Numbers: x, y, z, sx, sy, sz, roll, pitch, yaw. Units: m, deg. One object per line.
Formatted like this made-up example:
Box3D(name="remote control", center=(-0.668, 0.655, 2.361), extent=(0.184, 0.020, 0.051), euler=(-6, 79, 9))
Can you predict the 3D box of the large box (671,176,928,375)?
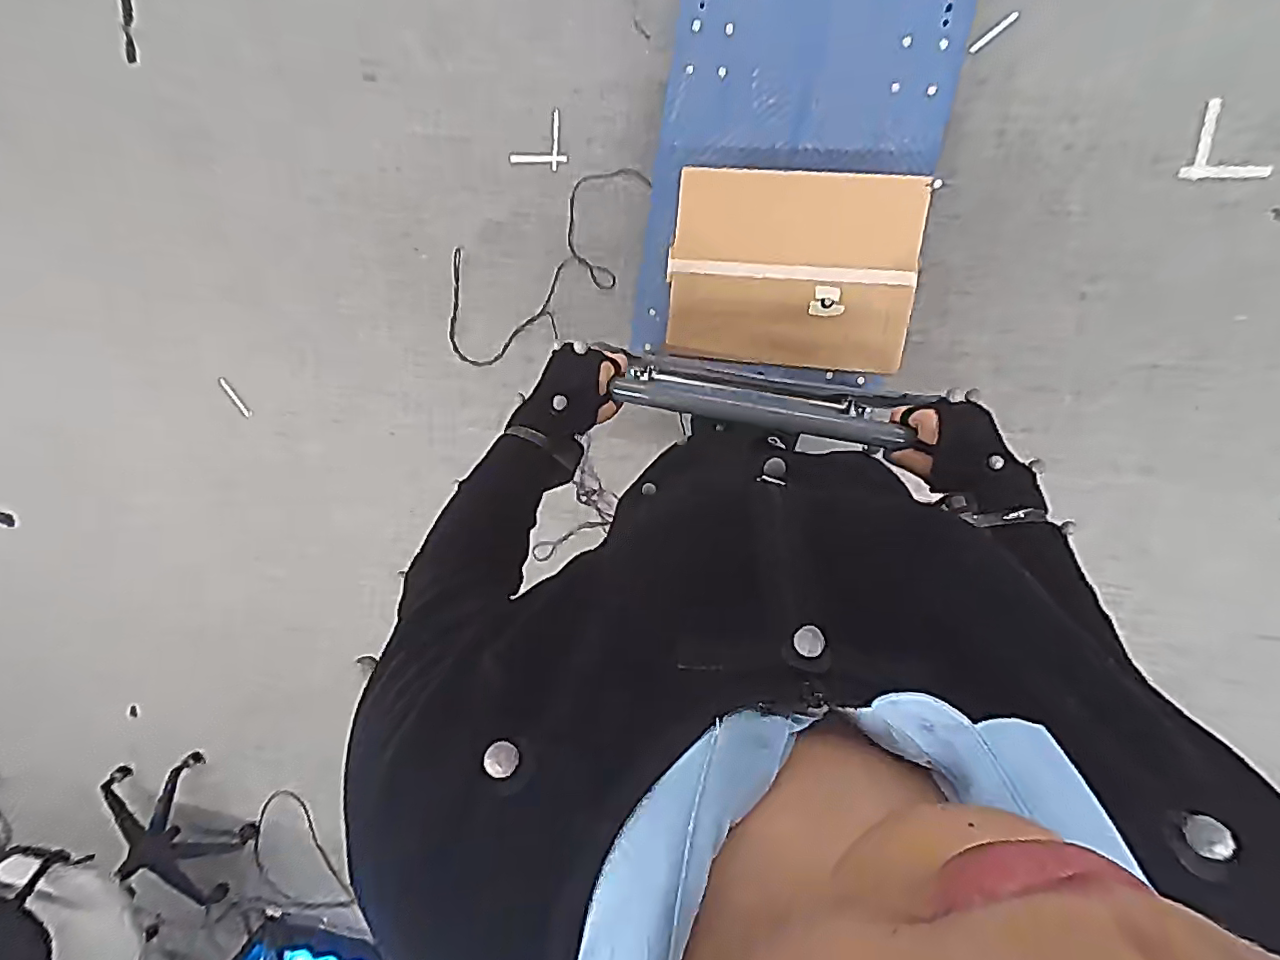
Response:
Box3D(name="large box", center=(0.280, -0.379, 1.073), extent=(0.408, 0.320, 0.320), euler=(6, 103, 7))
